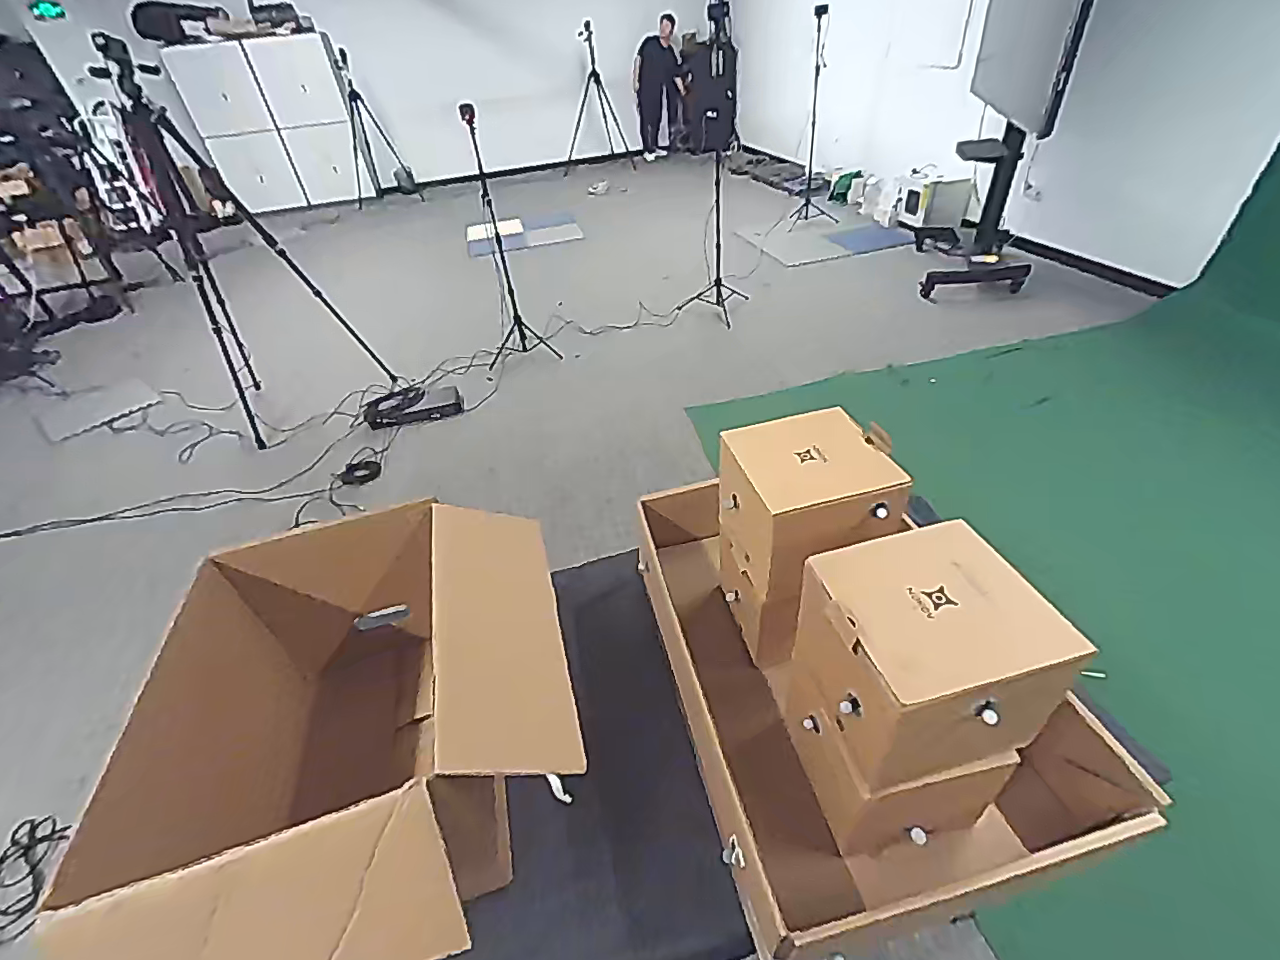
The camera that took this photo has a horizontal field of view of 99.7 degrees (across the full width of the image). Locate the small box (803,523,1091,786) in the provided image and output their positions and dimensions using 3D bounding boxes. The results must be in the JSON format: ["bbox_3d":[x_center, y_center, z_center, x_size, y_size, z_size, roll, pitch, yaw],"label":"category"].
[{"bbox_3d":[0.276,0.173,0.539,0.179,0.176,0.168,-13,40,-6],"label":"small box"}]

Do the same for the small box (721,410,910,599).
[{"bbox_3d":[0.217,0.034,0.718,0.179,0.176,0.168,-12,42,-7],"label":"small box"}]
